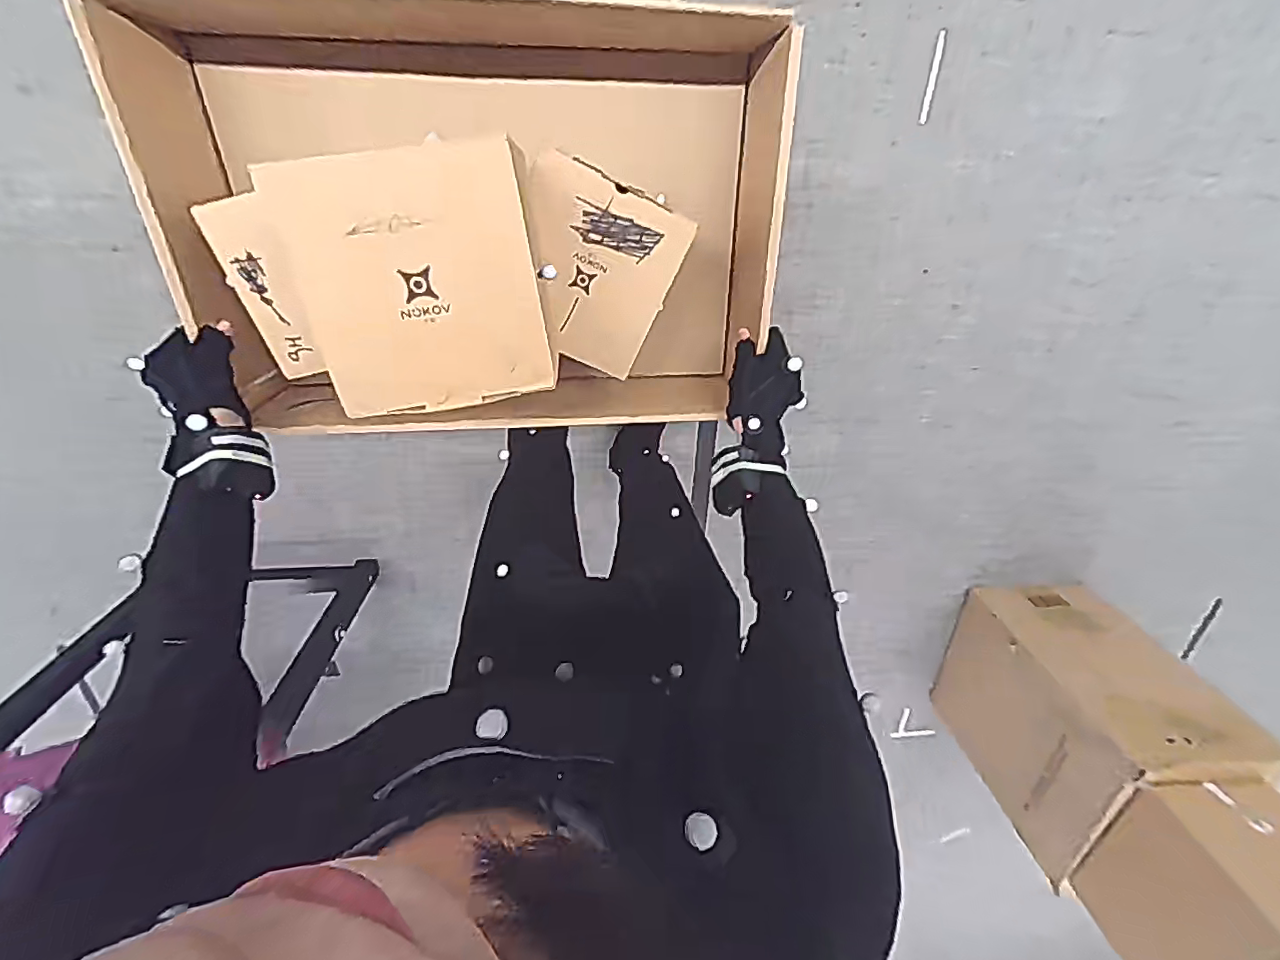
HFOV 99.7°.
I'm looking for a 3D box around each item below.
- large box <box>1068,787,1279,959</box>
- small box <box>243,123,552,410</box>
[{"bbox_3d":[1.256,0.935,1.172,0.320,0.320,0.408,1,118,-4],"label":"large box"},{"bbox_3d":[-0.168,-0.177,0.449,0.168,0.176,0.179,-9,117,-4],"label":"small box"}]
